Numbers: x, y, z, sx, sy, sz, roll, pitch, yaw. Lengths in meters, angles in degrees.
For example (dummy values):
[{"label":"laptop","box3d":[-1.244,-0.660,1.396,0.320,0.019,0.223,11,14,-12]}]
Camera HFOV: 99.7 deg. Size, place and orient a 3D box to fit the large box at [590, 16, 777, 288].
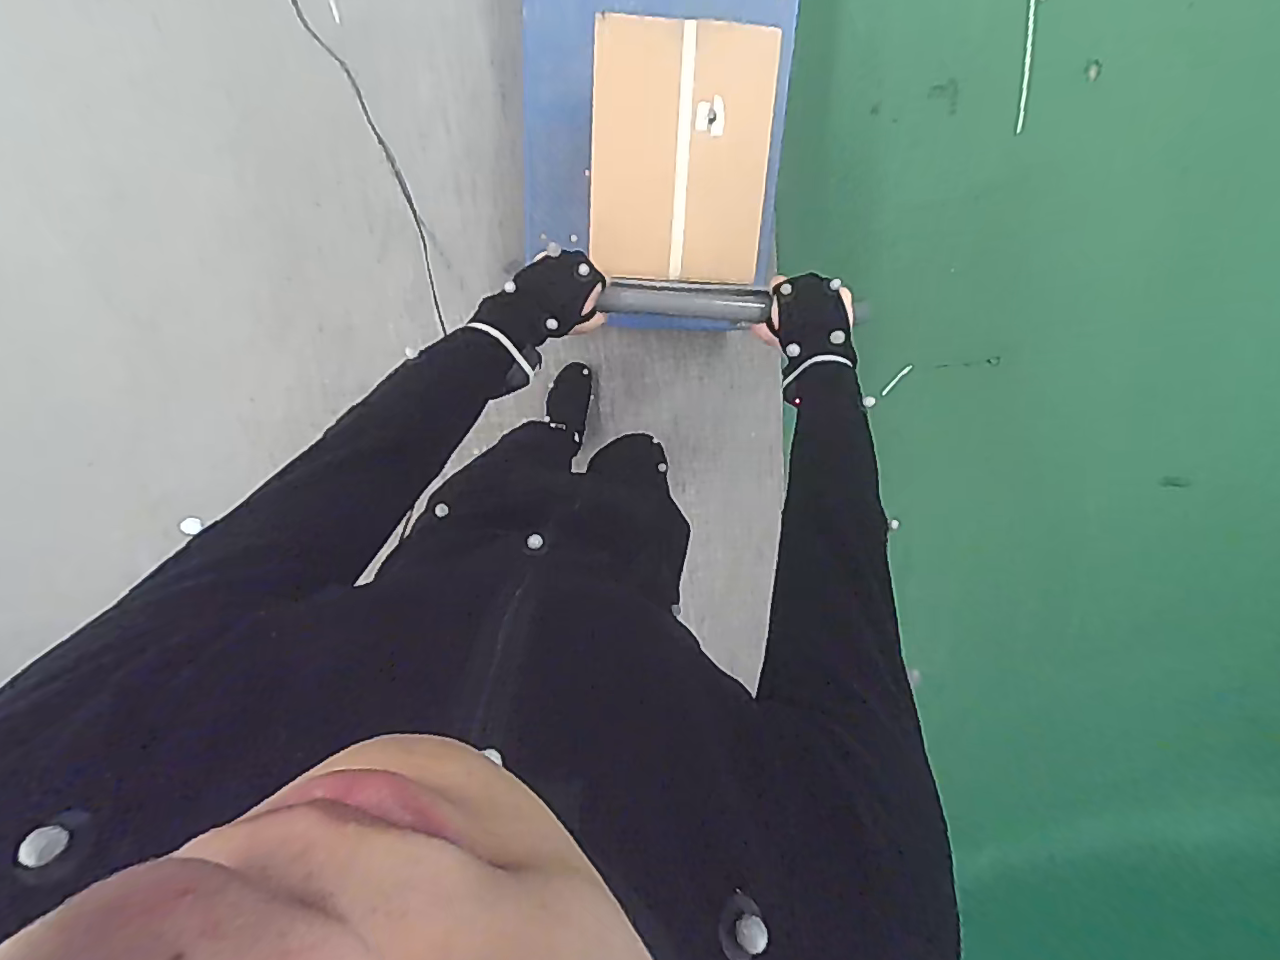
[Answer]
[{"label":"large box","box3d":[0.063,-0.610,1.093,0.320,0.320,0.408,1,107,-5]}]
